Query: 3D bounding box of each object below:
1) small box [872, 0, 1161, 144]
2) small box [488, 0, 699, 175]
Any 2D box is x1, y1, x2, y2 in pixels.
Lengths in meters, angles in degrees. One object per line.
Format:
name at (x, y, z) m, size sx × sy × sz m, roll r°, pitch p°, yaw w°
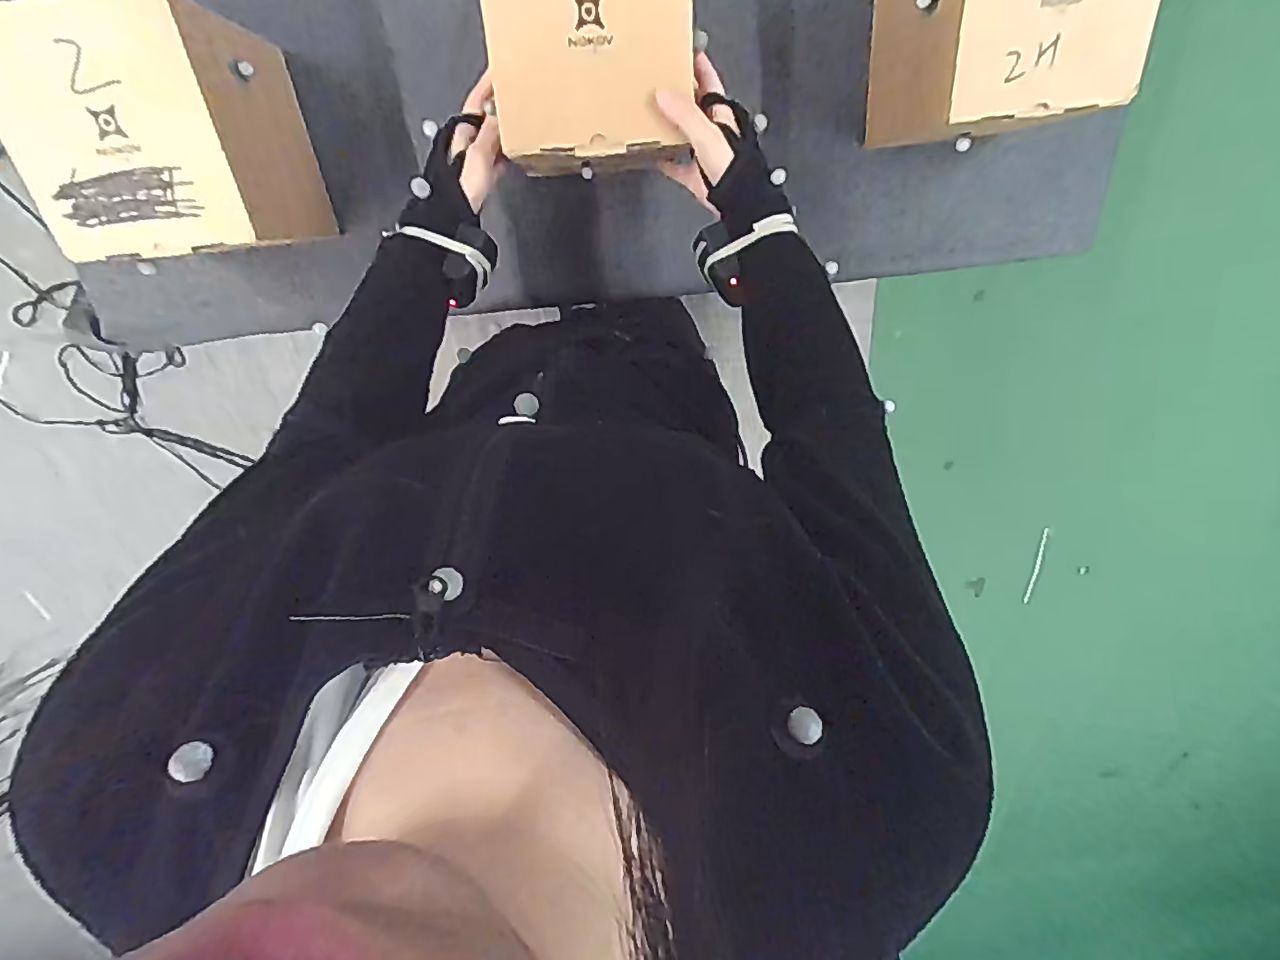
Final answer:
small box at (0.333, -0.431, 0.501) m, size 0.168 × 0.176 × 0.179 m, roll -6°, pitch 116°, yaw 1°
small box at (-0.042, -0.395, 0.500) m, size 0.168 × 0.176 × 0.179 m, roll -6°, pitch 116°, yaw -1°
